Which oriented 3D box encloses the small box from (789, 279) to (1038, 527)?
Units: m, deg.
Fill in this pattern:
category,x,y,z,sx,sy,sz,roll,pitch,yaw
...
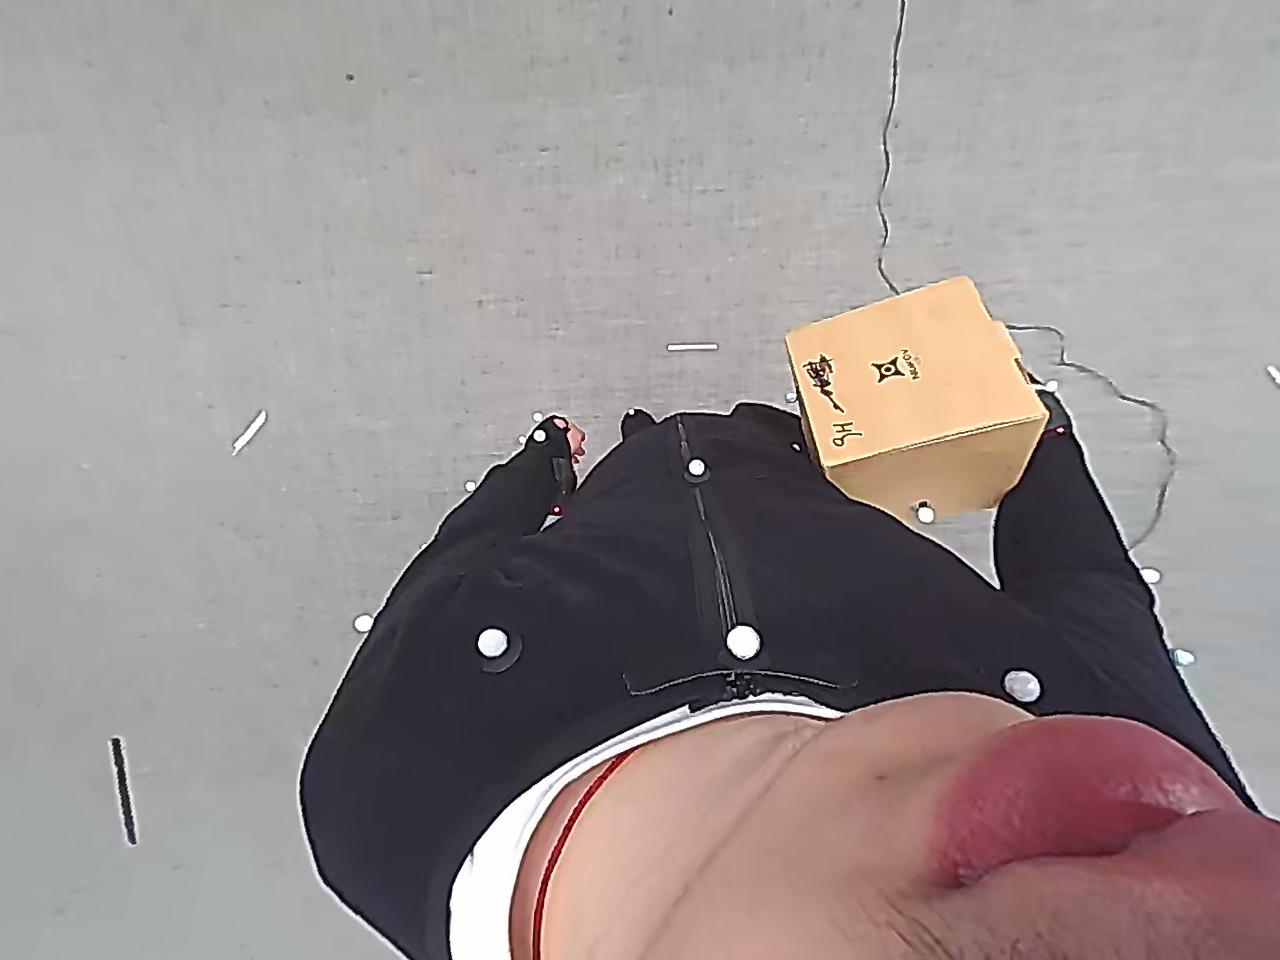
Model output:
category,x,y,z,sx,sy,sz,roll,pitch,yaw
small box,0.267,-0.068,0.568,0.179,0.176,0.168,-14,57,16
